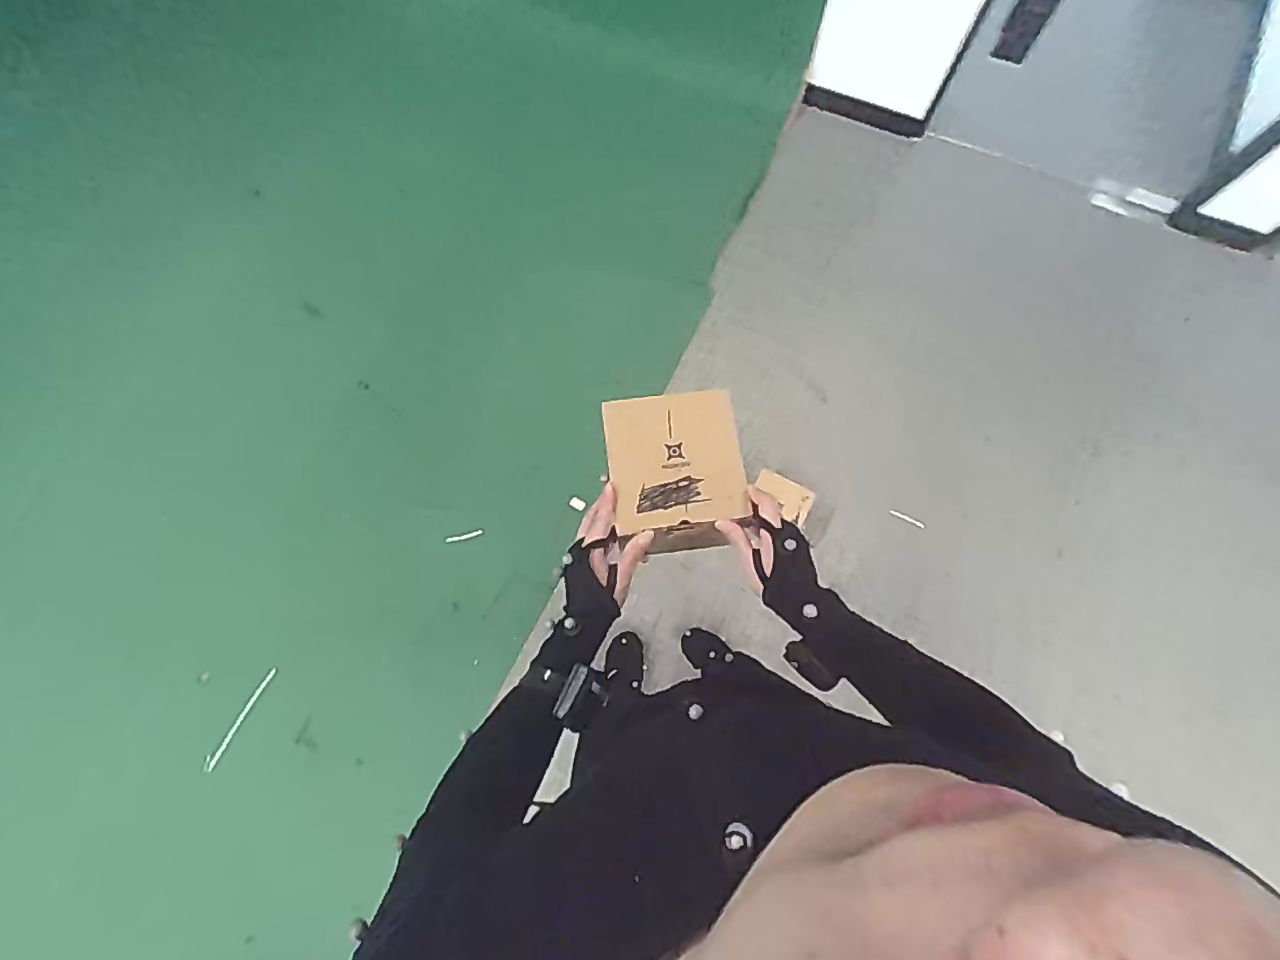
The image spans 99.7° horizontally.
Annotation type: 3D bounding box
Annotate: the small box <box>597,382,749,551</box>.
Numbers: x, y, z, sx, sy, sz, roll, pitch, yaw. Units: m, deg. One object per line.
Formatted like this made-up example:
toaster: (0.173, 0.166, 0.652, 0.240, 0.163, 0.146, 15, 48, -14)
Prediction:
small box: (0.038, -0.007, 0.723, 0.168, 0.176, 0.179, -8, 72, -2)

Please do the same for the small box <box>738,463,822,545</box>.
small box: (0.407, 0.078, 1.606, 0.179, 0.176, 0.168, 29, 78, 10)
